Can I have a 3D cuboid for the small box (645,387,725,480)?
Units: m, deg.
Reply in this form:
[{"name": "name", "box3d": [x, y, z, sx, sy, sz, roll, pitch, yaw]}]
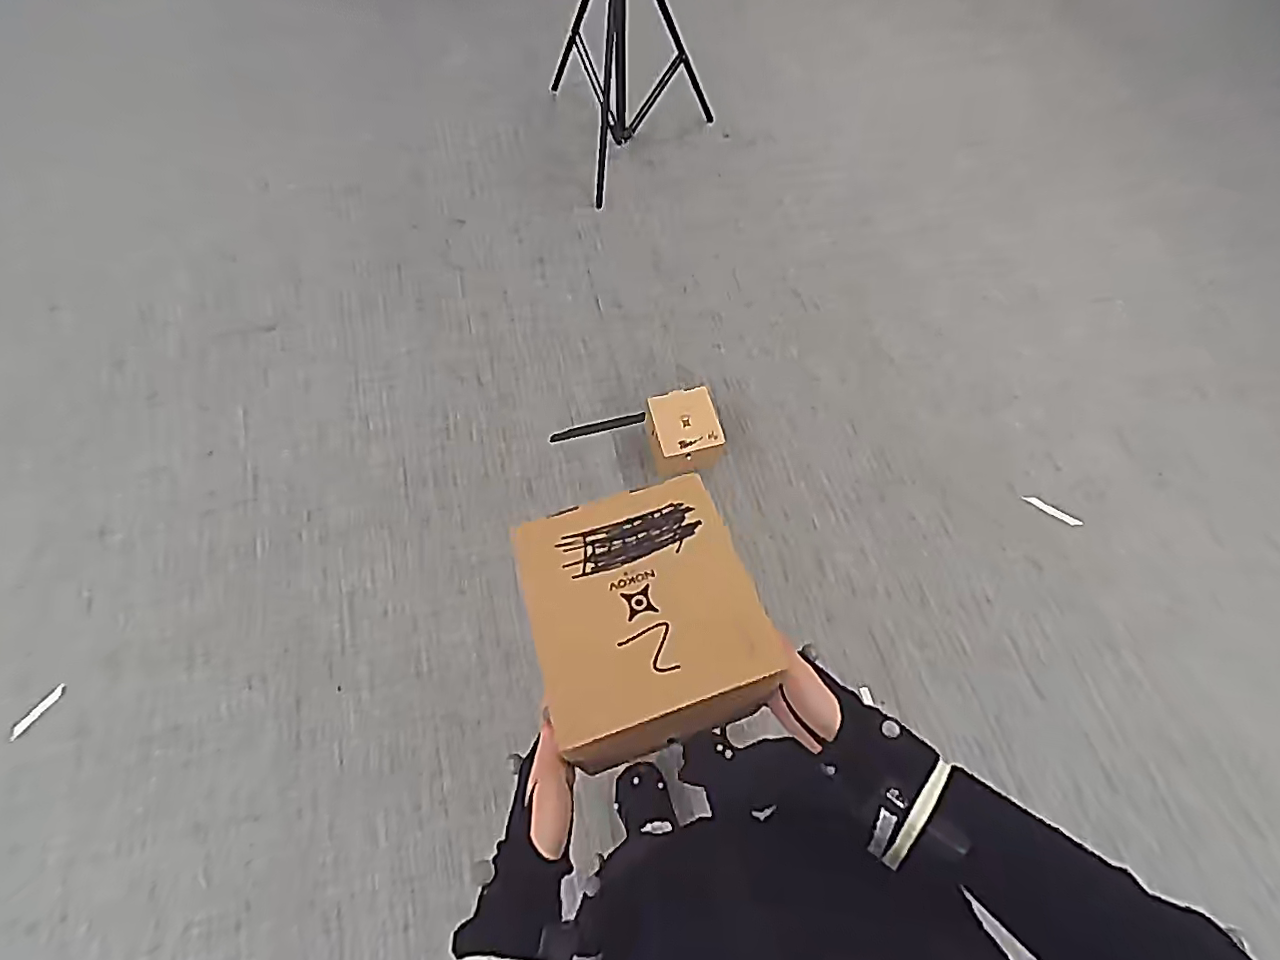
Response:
[{"name": "small box", "box3d": [0.113, -0.122, 1.467, 0.168, 0.176, 0.179, -14, 70, -7]}]
